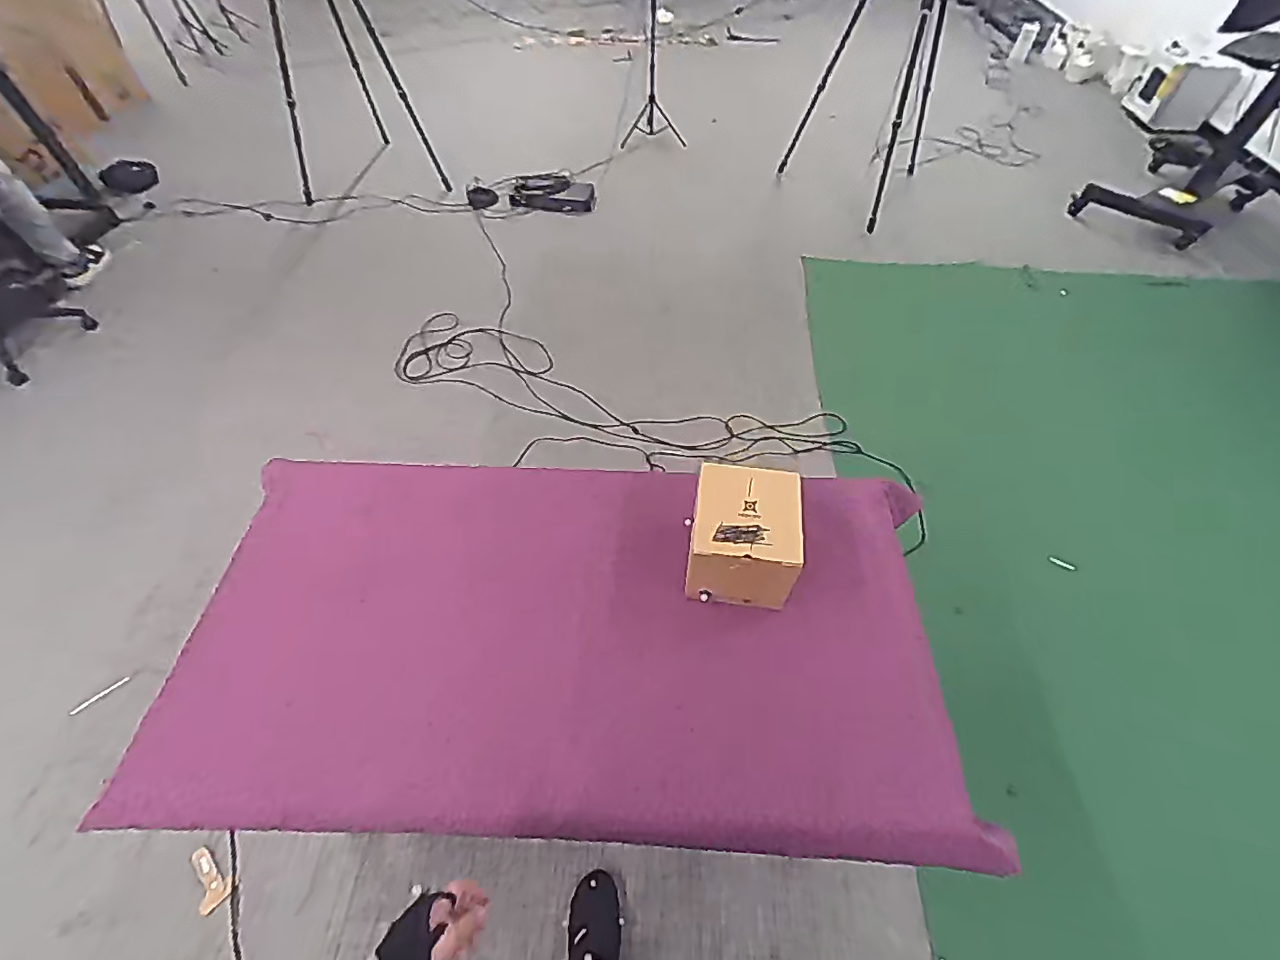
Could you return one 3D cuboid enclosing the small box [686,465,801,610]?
[{"bbox_3d":[0.170,0.101,0.910,0.168,0.176,0.179,7,53,5],"label":"small box"}]
